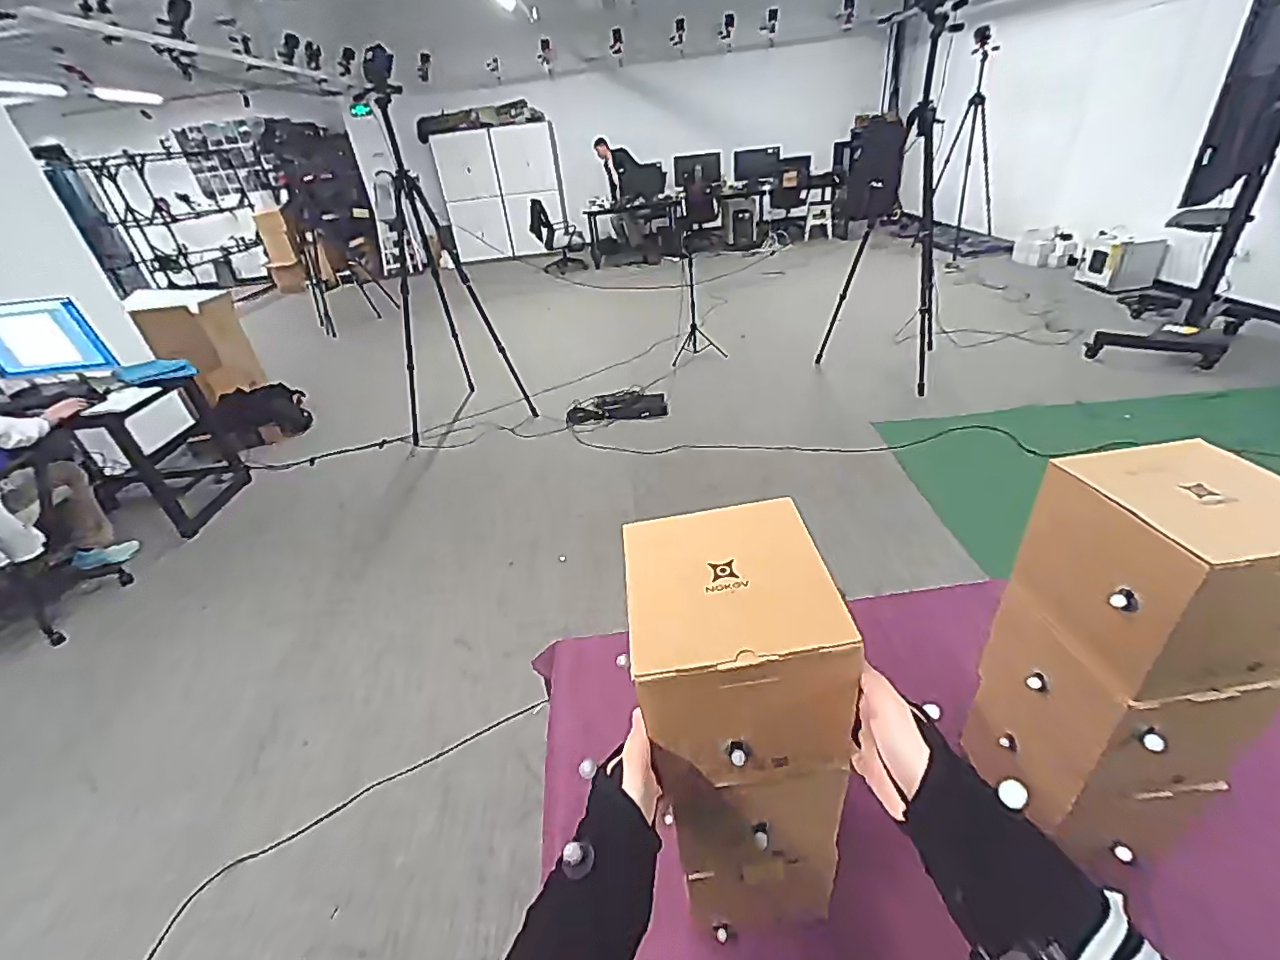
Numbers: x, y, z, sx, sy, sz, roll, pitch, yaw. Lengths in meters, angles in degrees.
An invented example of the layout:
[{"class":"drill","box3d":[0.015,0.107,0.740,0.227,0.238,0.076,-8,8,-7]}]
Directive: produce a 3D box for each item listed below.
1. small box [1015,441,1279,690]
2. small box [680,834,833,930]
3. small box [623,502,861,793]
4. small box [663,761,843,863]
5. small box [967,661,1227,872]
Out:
[{"class":"small box","box3d":[0.518,0.084,0.529,0.168,0.176,0.179,-8,31,-1]},{"class":"small box","box3d":[0.129,0.430,0.682,0.168,0.176,0.179,-8,31,-1]},{"class":"small box","box3d":[0.079,0.146,0.489,0.168,0.176,0.179,-10,35,2]},{"class":"small box","box3d":[0.107,0.292,0.596,0.168,0.176,0.179,-7,33,0]},{"class":"small box","box3d":[0.557,0.363,0.696,0.168,0.176,0.179,-7,32,2]}]
